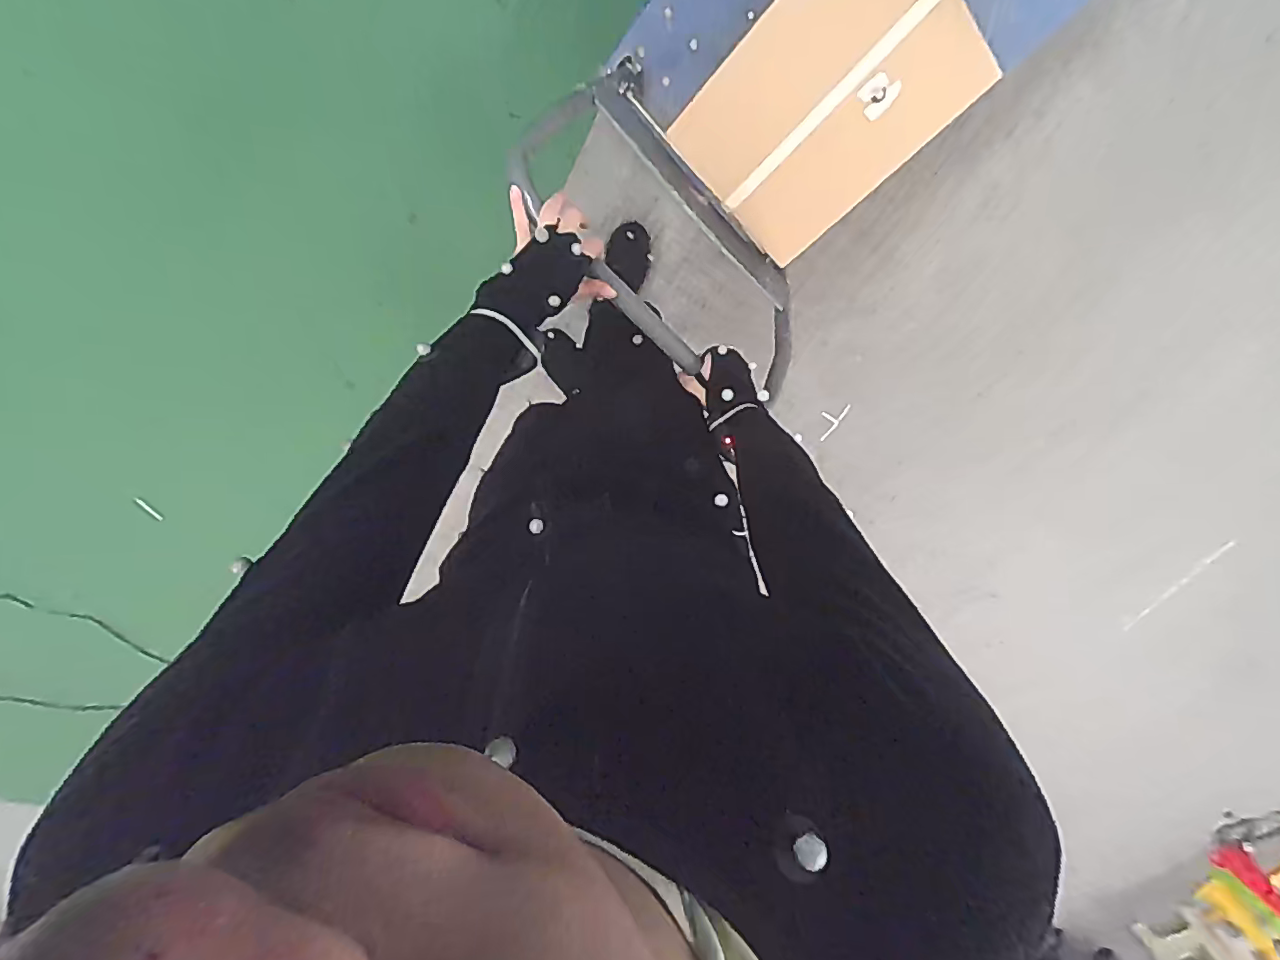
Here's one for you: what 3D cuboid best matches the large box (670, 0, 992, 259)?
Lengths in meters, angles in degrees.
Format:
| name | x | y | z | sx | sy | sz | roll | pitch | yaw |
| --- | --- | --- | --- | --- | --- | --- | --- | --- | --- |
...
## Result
| name | x | y | z | sx | sy | sz | roll | pitch | yaw |
| --- | --- | --- | --- | --- | --- | --- | --- | --- | --- |
| large box | 0.310 | -0.695 | 0.976 | 0.320 | 0.320 | 0.408 | 40 | 125 | -21 |
